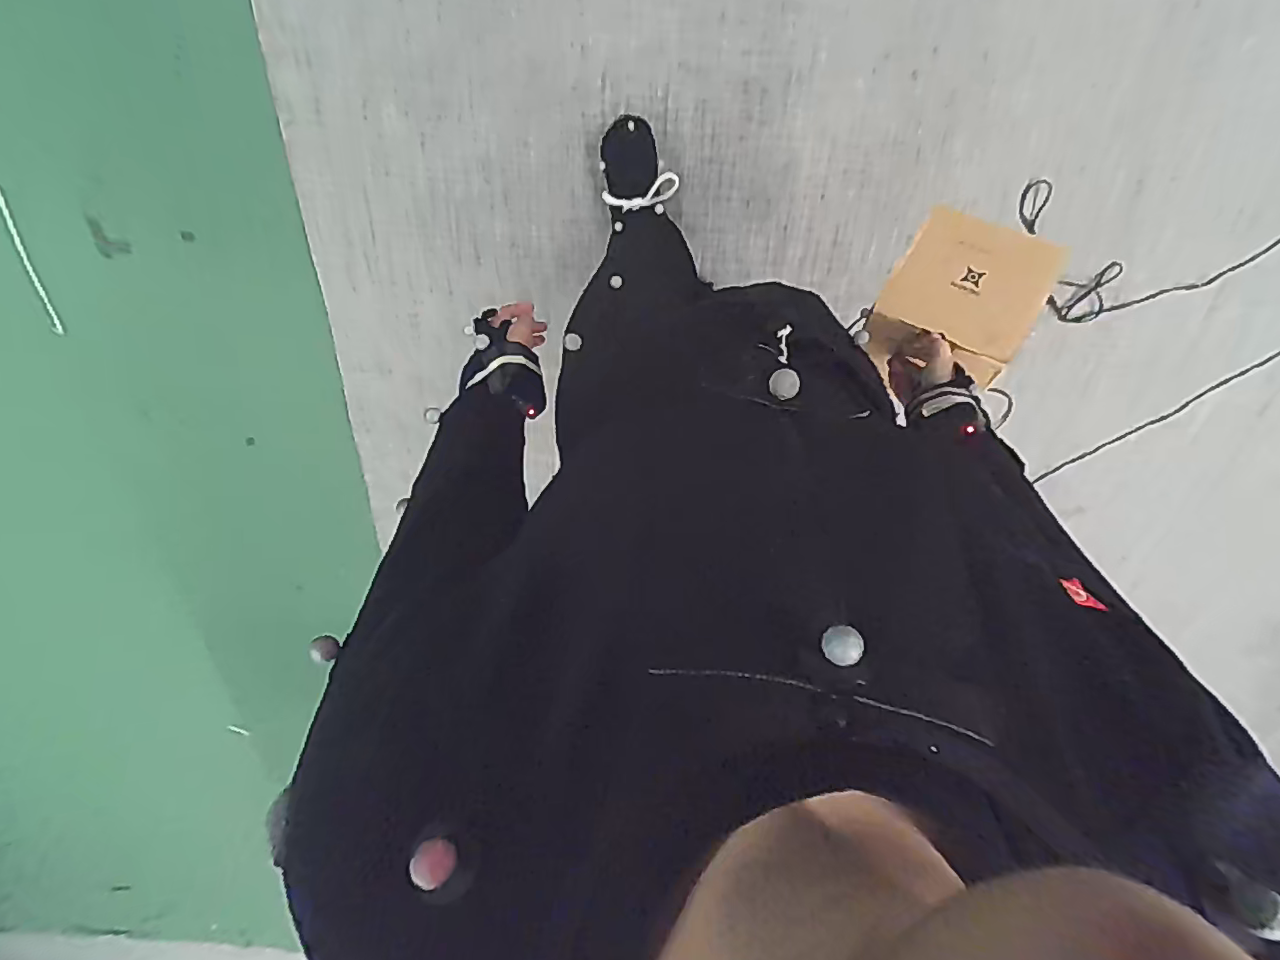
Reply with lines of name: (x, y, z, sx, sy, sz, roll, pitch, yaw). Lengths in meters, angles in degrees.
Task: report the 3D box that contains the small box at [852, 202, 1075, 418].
small box: (0.398, -0.208, 0.702, 0.168, 0.176, 0.179, 31, 79, 14)
